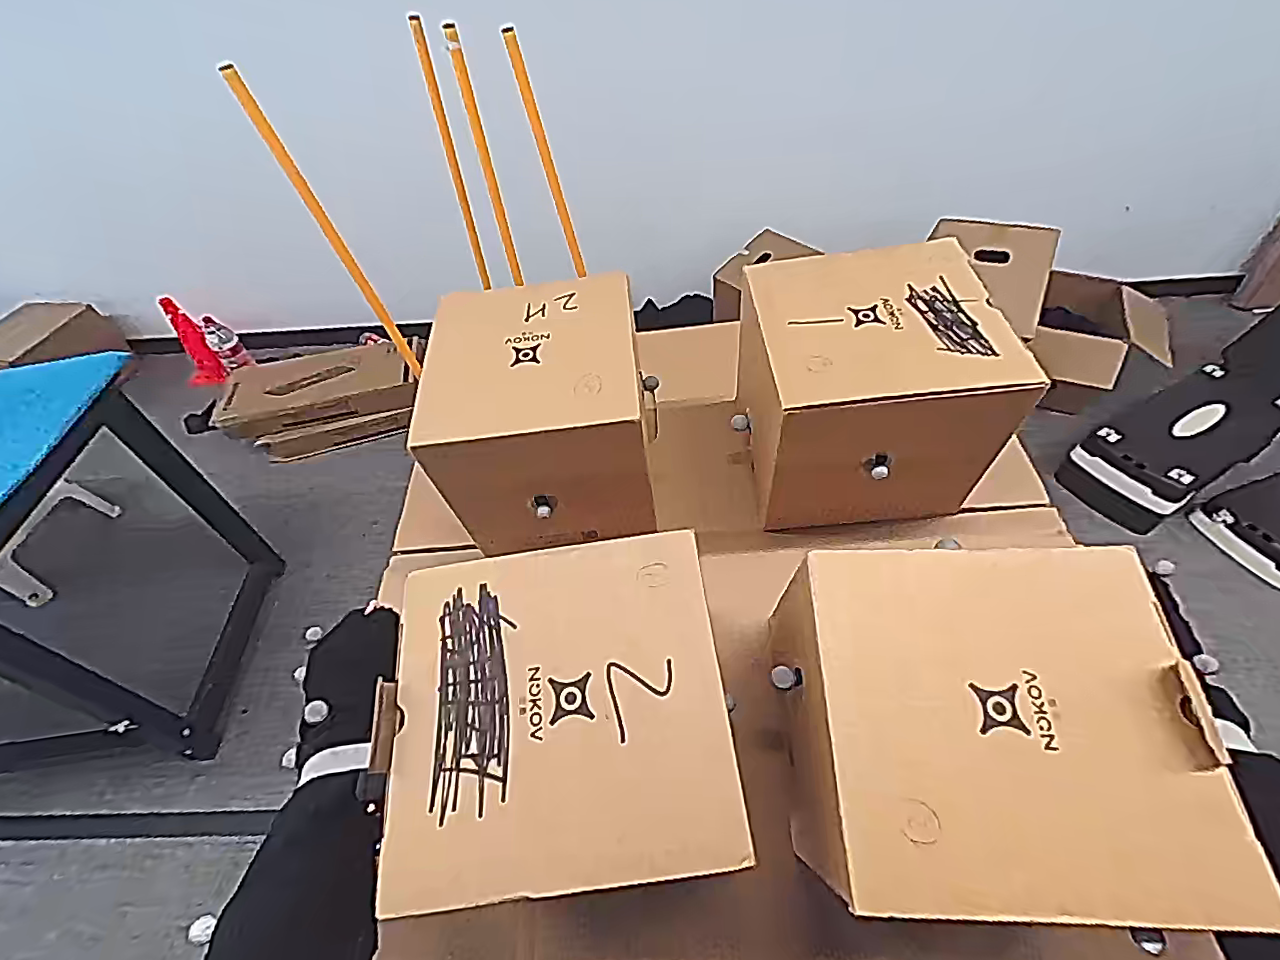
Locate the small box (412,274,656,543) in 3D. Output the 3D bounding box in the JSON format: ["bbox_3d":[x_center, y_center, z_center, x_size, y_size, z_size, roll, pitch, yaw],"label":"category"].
[{"bbox_3d":[-0.077,-0.054,0.490,0.168,0.176,0.179,-6,54,3],"label":"small box"}]
